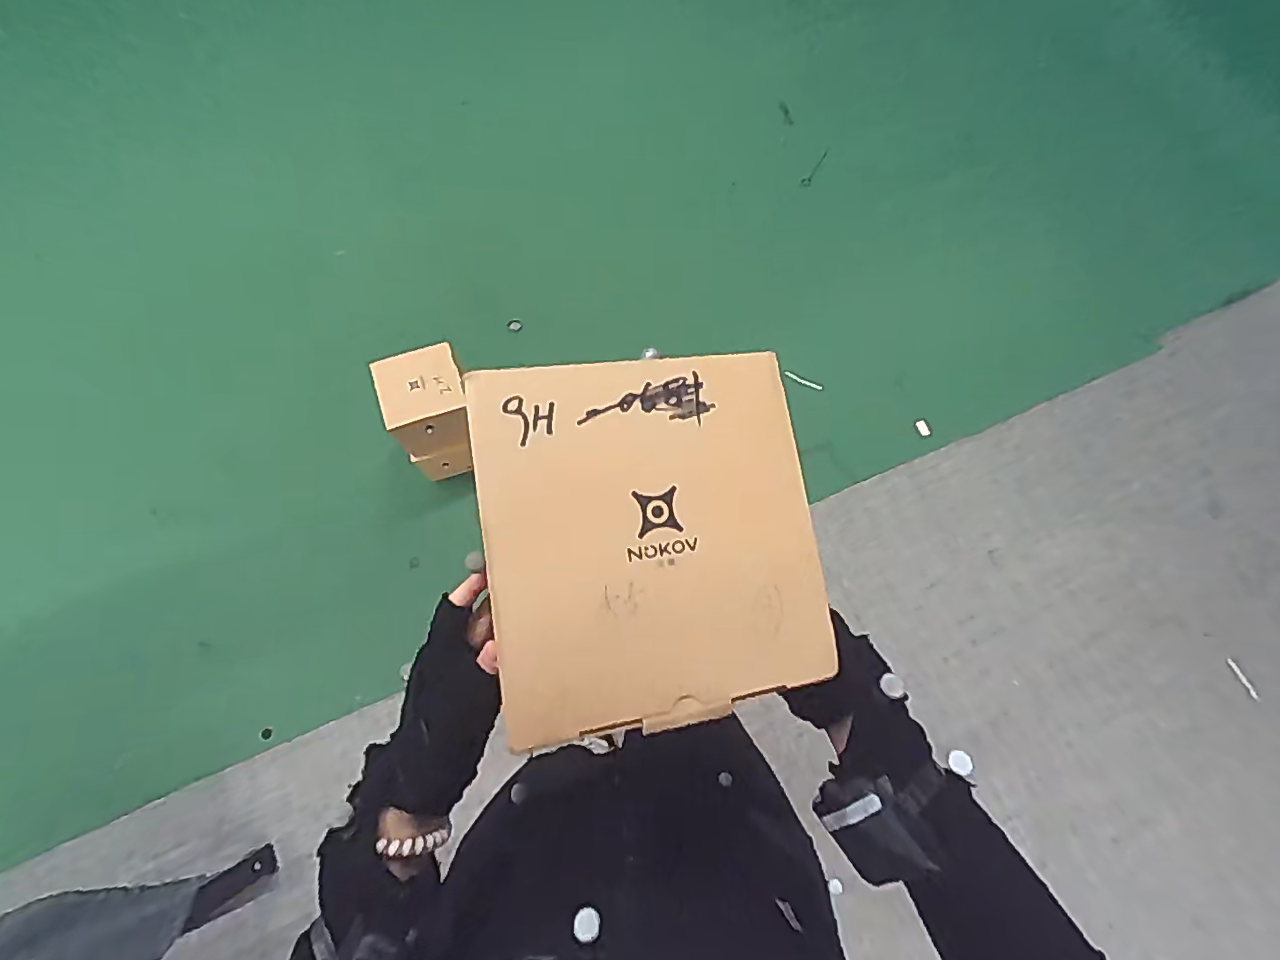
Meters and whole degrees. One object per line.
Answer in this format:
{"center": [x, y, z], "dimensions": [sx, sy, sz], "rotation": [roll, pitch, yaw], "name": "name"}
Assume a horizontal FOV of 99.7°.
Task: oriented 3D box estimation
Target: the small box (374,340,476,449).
{"center": [-0.475, -0.188, 1.239], "dimensions": [0.179, 0.176, 0.168], "rotation": [-18, 75, -10], "name": "small box"}

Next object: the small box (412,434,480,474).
{"center": [-0.489, -0.128, 1.391], "dimensions": [0.168, 0.176, 0.179], "rotation": [-17, 74, -9], "name": "small box"}

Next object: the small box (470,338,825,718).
{"center": [-0.011, 0.025, 0.347], "dimensions": [0.168, 0.176, 0.179], "rotation": [-6, 83, -15], "name": "small box"}
